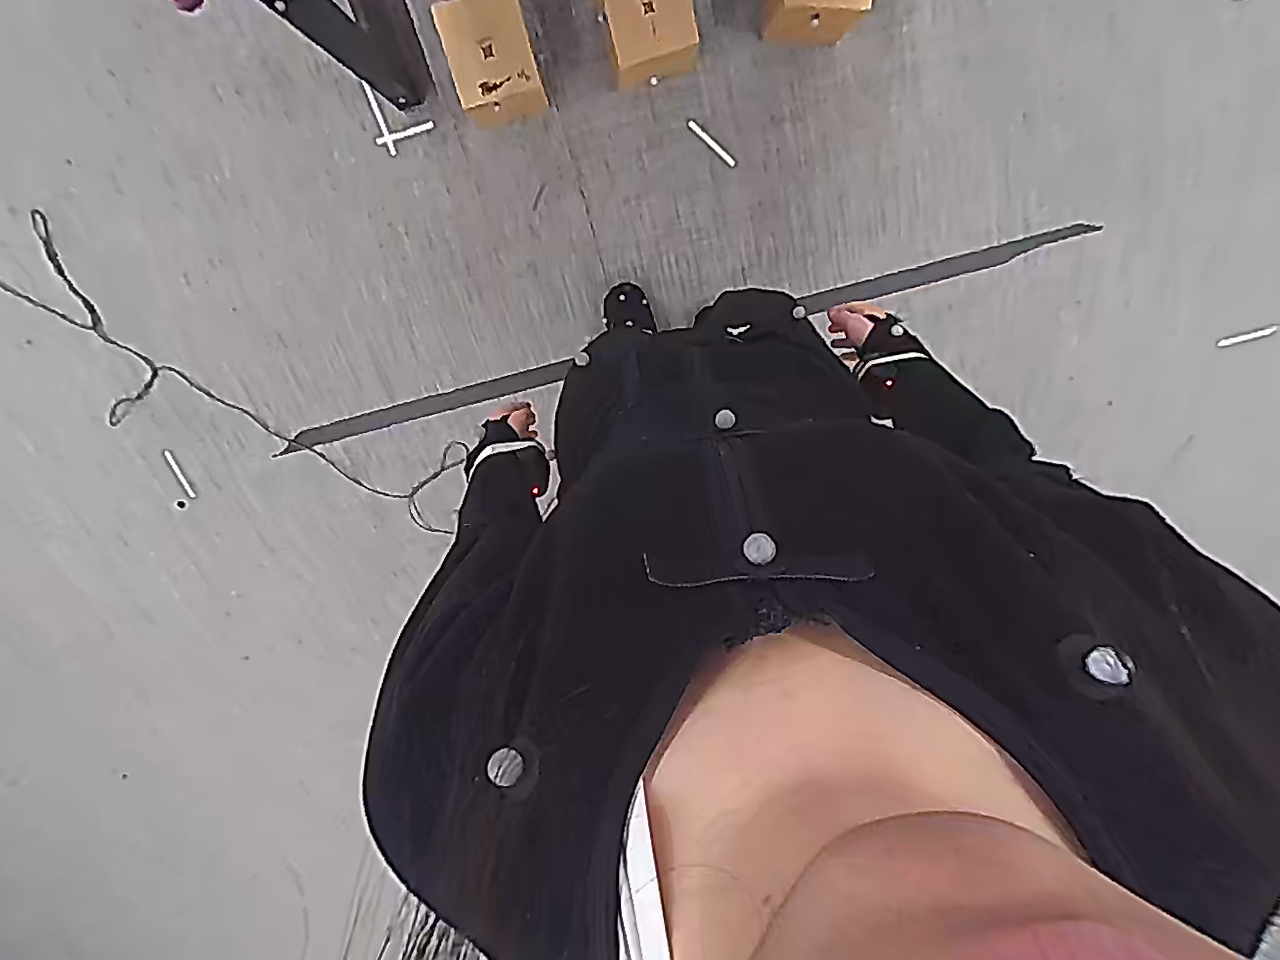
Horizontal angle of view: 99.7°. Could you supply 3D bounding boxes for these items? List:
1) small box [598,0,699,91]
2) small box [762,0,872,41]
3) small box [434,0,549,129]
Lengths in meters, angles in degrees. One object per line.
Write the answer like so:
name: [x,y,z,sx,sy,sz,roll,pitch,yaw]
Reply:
small box: [0.012,-0.936,1.098,0.168,0.176,0.179,-16,111,4]
small box: [0.360,-1.016,1.086,0.179,0.176,0.168,1,111,-2]
small box: [-0.295,-0.861,1.113,0.168,0.176,0.179,-13,109,2]
